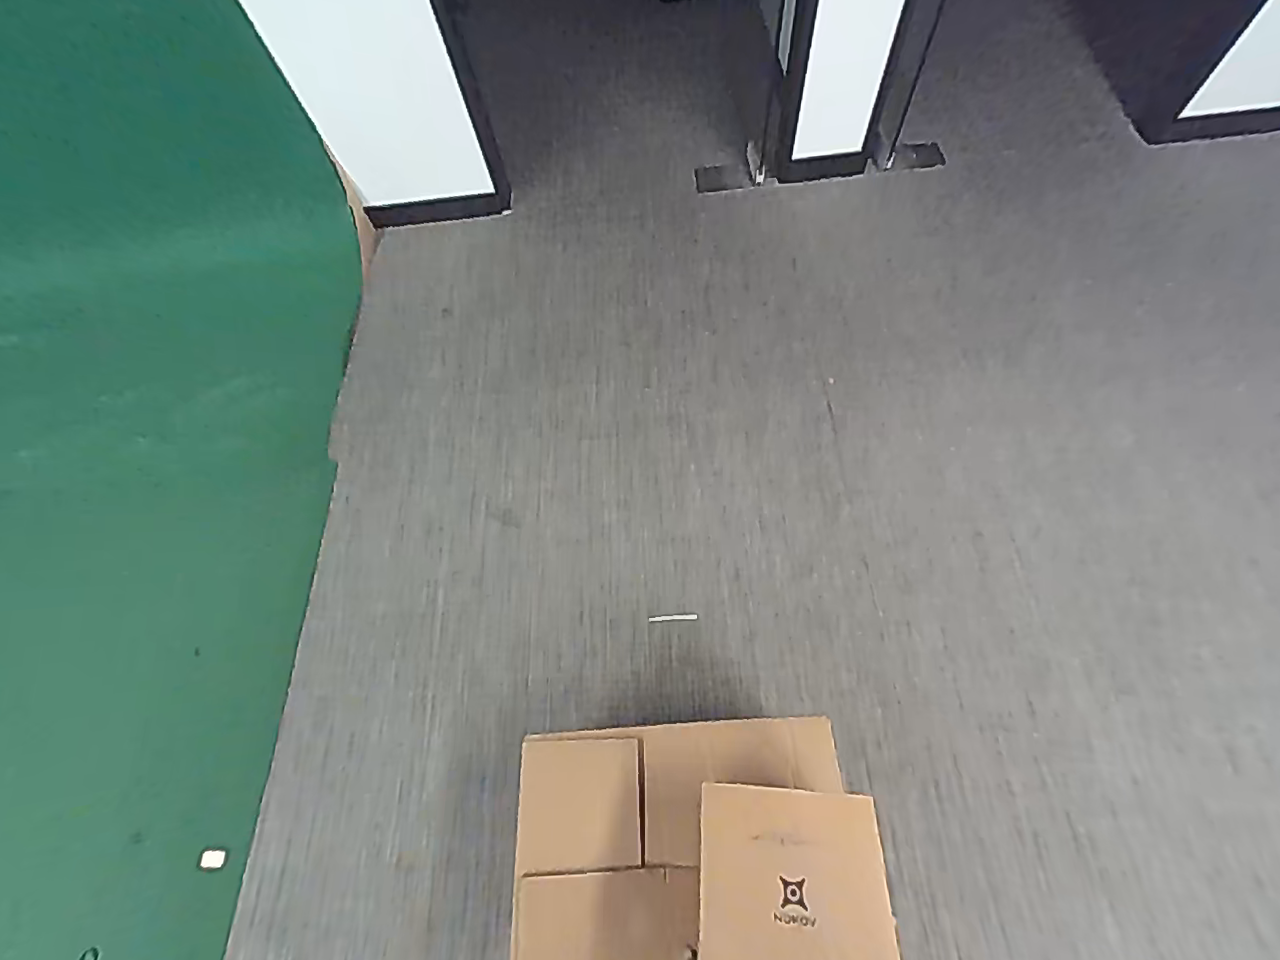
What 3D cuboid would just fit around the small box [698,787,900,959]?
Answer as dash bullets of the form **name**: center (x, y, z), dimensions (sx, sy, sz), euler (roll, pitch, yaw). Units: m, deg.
- **small box**: center (0.142, 0.423, 0.526), dimensions (0.168, 0.176, 0.179), euler (1, 48, 7)
